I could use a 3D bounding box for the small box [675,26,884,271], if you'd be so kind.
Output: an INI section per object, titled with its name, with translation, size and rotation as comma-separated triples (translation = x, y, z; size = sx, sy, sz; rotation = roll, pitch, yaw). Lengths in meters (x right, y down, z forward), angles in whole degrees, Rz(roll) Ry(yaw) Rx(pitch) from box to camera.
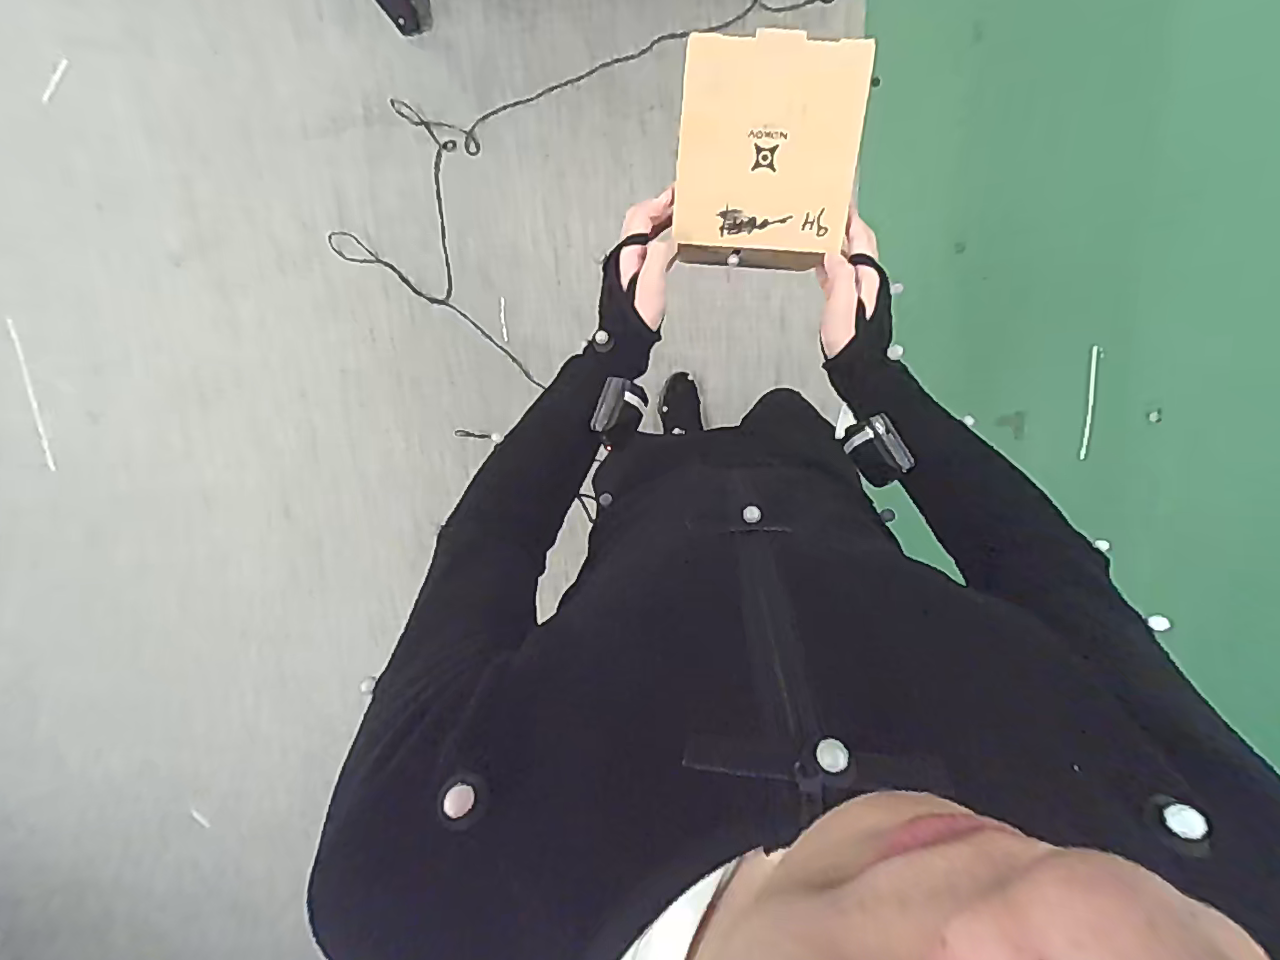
[small box]
translation = 0.129, -0.326, 0.567
size = 0.168, 0.176, 0.179
rotation = 7, 107, 4
